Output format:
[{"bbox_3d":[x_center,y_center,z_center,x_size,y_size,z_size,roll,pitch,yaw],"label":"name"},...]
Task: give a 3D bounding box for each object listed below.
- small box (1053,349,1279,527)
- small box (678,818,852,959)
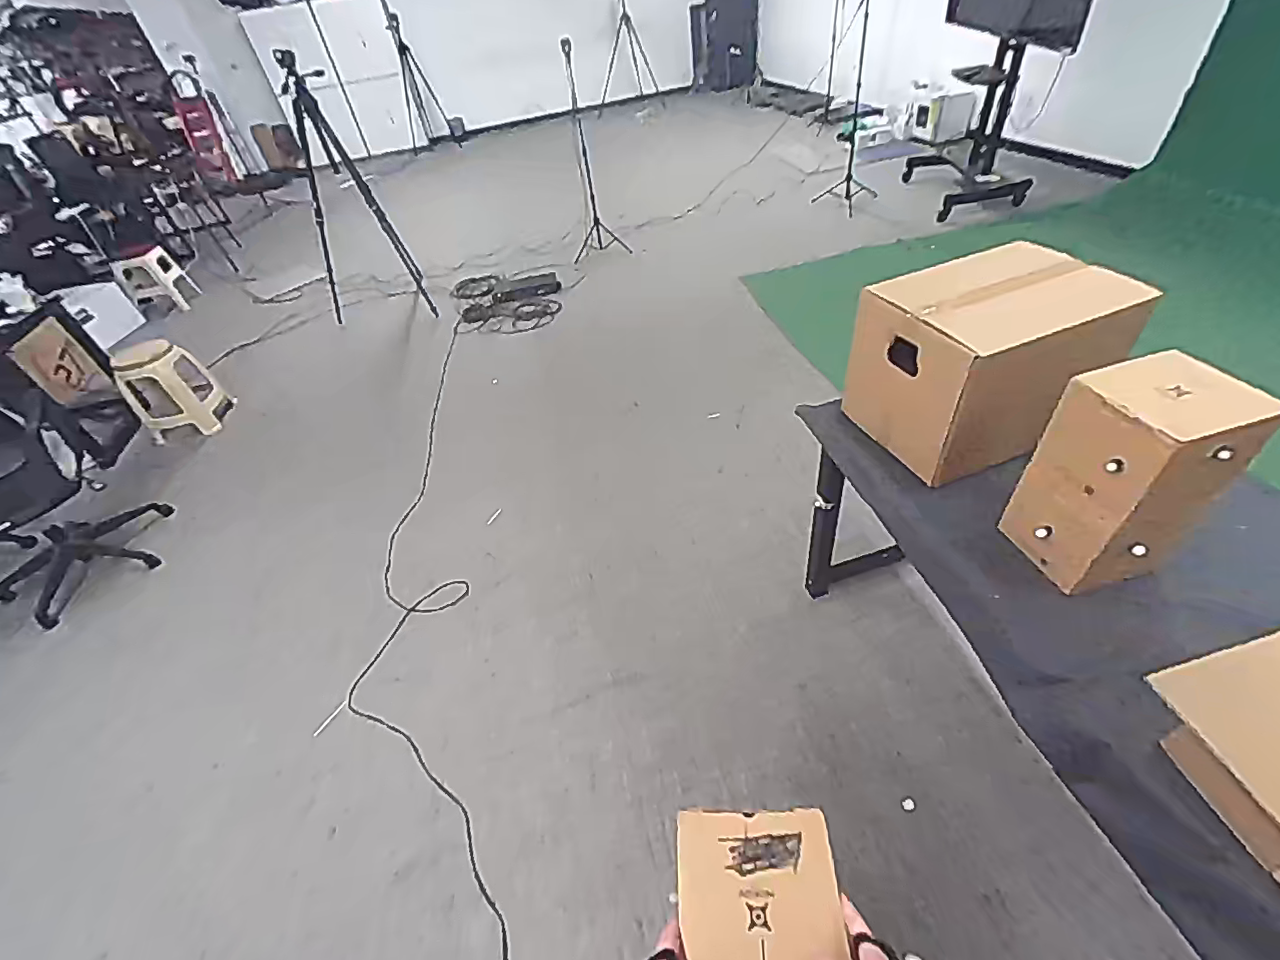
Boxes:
[{"bbox_3d":[0.735,-0.056,0.766,0.179,0.176,0.168,-15,45,-6],"label":"small box"},{"bbox_3d":[0.131,0.494,0.593,0.168,0.176,0.179,-6,44,7],"label":"small box"}]
